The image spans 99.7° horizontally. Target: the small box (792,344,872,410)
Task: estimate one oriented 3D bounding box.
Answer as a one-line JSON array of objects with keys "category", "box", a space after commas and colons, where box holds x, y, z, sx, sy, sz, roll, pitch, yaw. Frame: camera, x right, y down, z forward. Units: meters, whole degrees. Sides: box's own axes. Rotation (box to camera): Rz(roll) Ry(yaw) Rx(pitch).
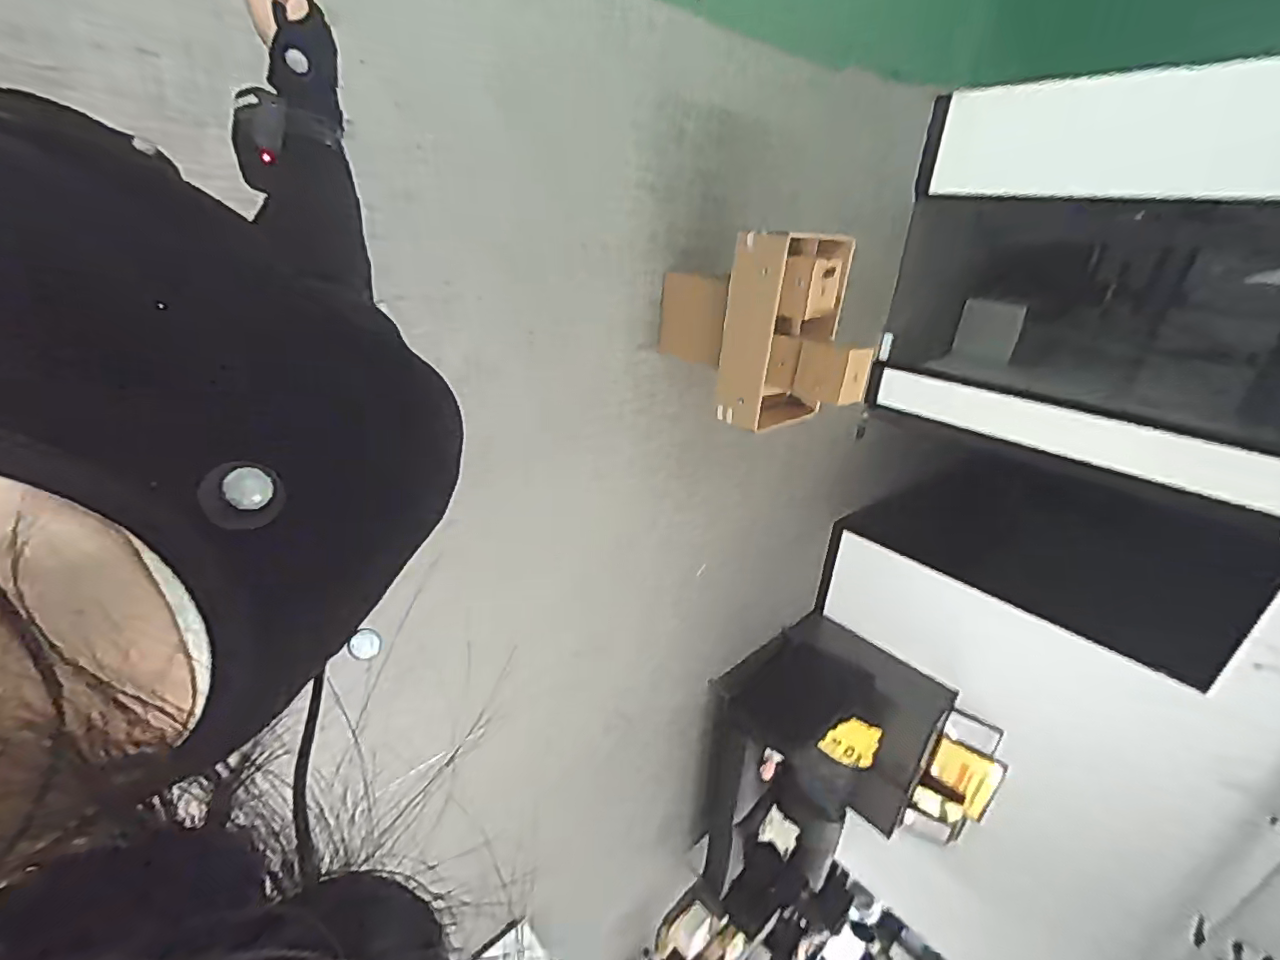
[{"category": "small box", "box": [0.618, -0.340, 1.757, 0.168, 0.176, 0.179, -14, 119, -41]}]
